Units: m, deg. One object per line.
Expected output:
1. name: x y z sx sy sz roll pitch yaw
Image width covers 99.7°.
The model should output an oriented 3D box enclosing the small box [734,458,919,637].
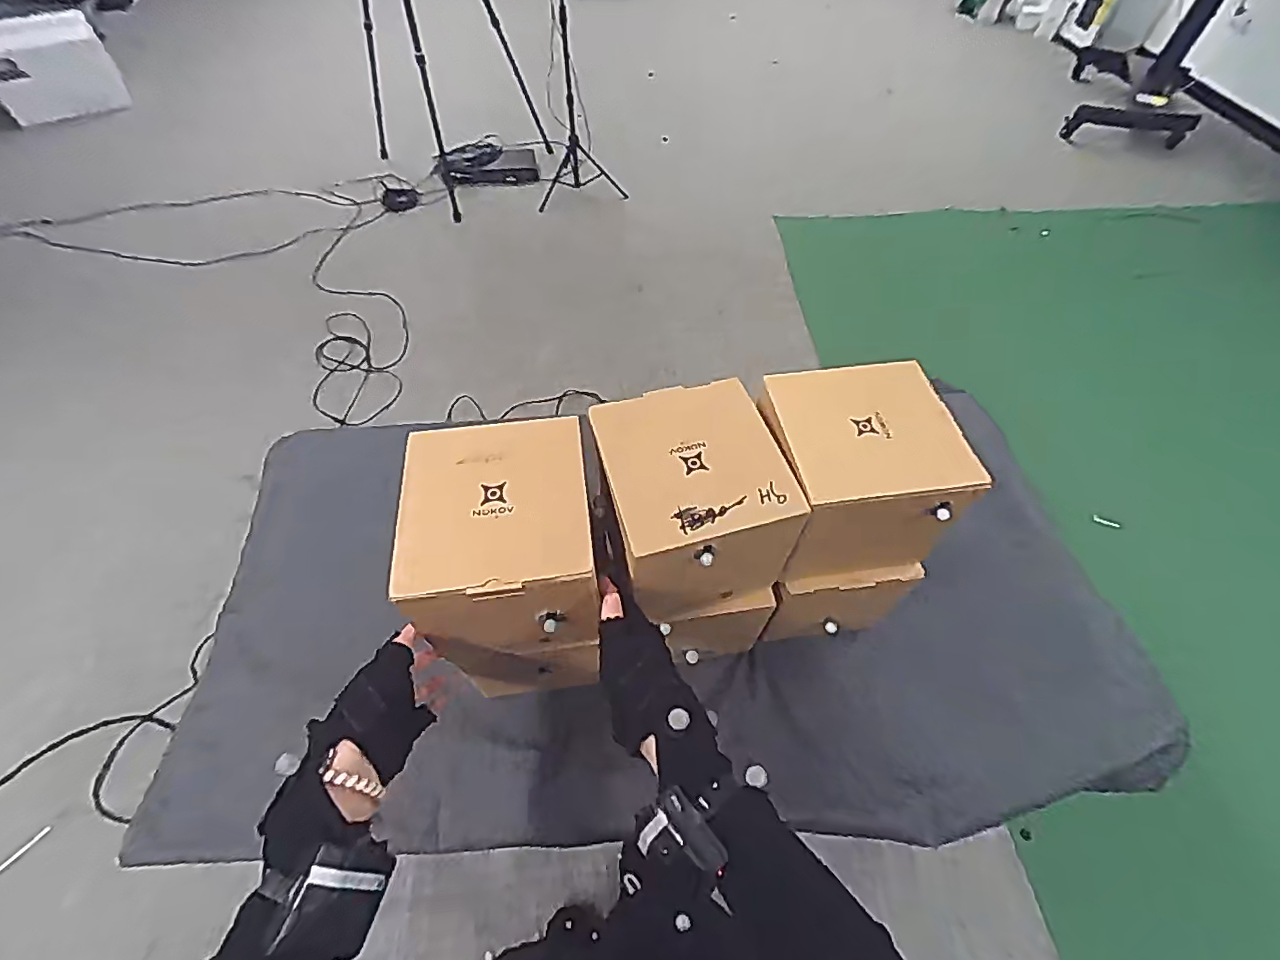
1. small box: 0.232 0.093 0.729 0.168 0.176 0.179 -6 56 -4

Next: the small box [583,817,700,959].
1. small box: 0.003 0.847 1.093 0.168 0.176 0.179 17 27 41
